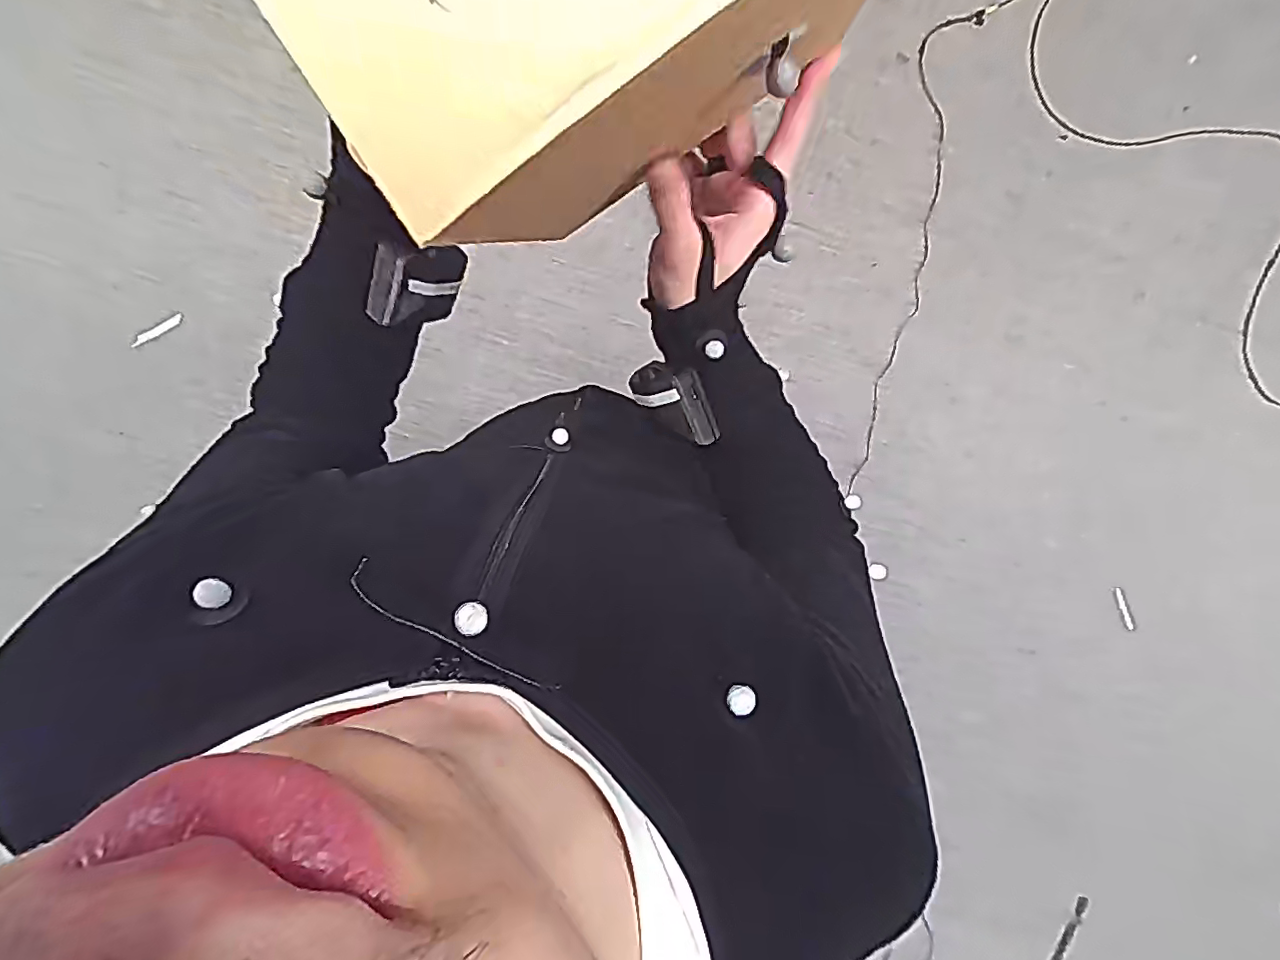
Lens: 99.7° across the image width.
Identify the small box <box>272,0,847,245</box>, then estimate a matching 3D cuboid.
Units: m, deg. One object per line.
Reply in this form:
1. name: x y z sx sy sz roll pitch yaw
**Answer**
1. small box: -0.028 -0.216 0.210 0.179 0.176 0.168 -27 107 20
